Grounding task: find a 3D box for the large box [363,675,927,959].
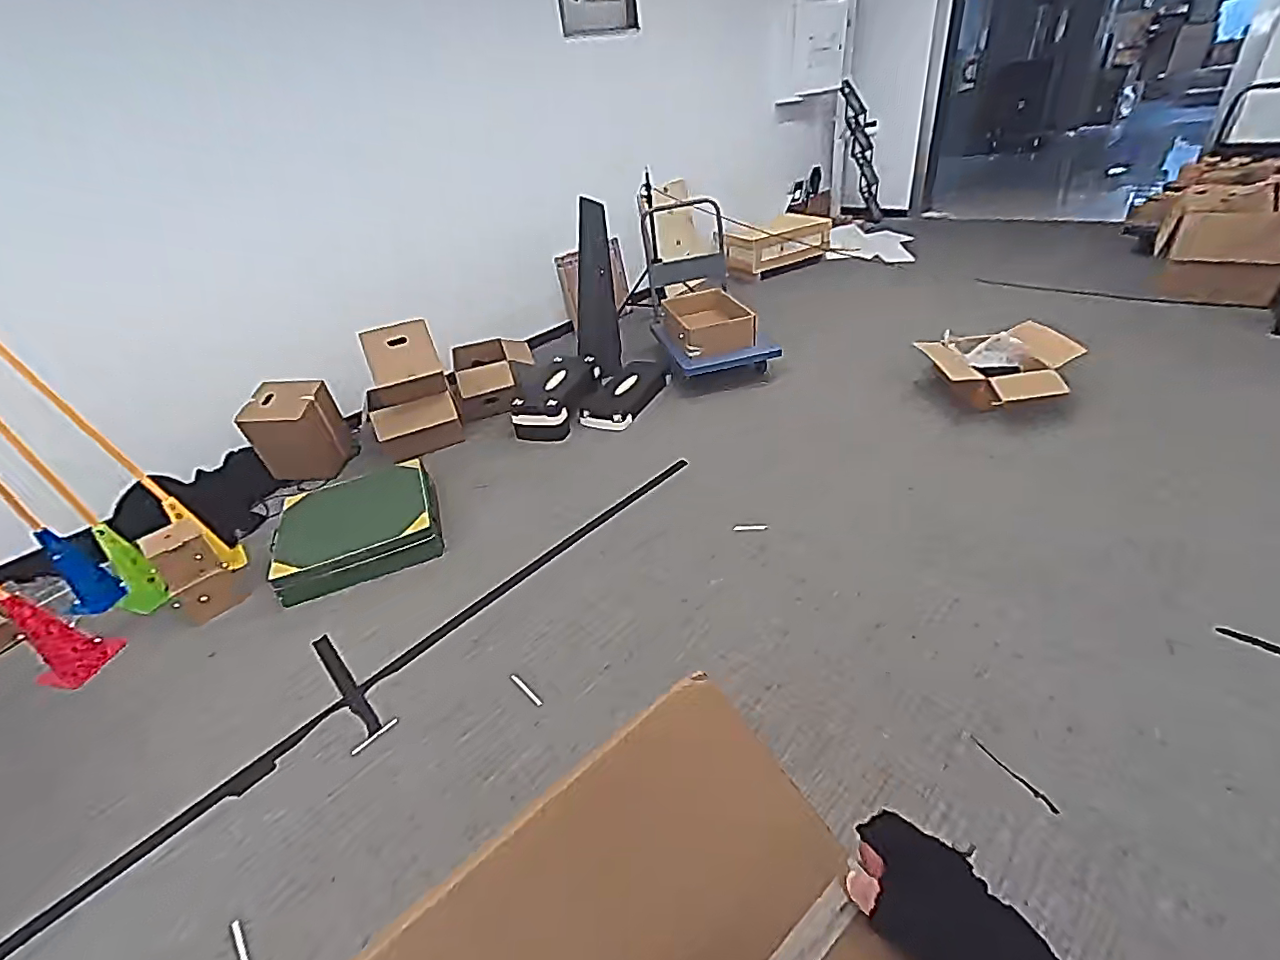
[{"bbox_3d":[-0.035,0.423,0.399,0.408,0.320,0.320,-33,71,-24],"label":"large box"}]
